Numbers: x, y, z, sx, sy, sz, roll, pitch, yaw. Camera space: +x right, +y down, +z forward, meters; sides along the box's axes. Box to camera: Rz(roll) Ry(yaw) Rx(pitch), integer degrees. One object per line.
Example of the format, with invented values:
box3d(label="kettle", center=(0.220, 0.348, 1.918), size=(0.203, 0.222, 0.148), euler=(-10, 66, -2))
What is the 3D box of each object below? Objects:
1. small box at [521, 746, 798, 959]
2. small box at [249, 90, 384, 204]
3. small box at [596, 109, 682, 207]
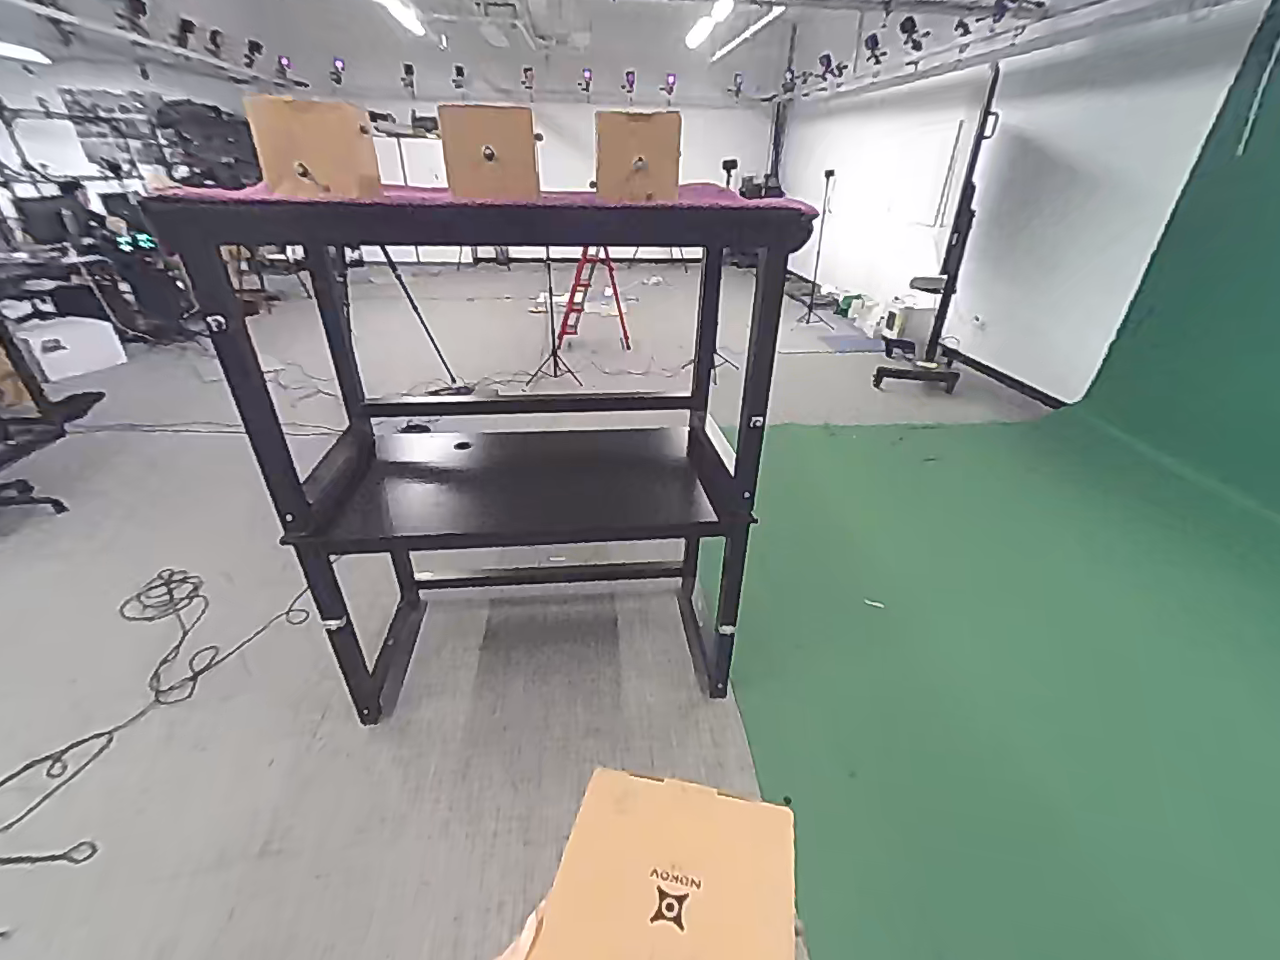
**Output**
box3d(label="small box", center=(0.023, 0.345, 0.405), size=(0.168, 0.176, 0.179), euler=(6, 26, 13))
box3d(label="small box", center=(-0.616, -0.643, 1.058), size=(0.168, 0.176, 0.179), euler=(-3, 29, -10))
box3d(label="small box", center=(-0.006, -0.674, 1.138), size=(0.168, 0.176, 0.179), euler=(-2, 31, -5))
